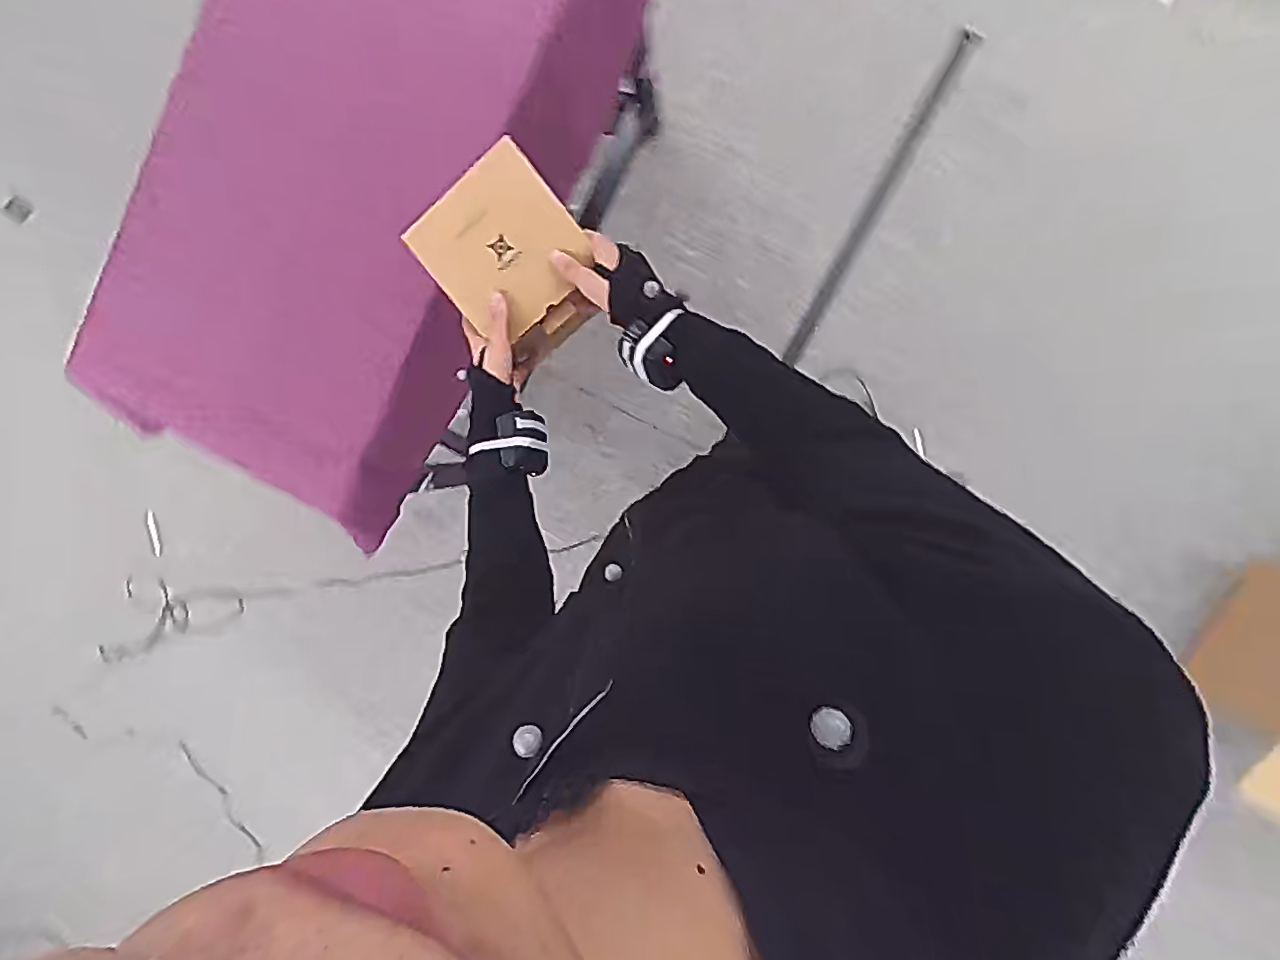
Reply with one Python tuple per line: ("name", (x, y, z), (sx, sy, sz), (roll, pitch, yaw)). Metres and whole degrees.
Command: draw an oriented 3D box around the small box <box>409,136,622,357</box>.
("small box", (-0.140, -0.273, 0.681), (0.168, 0.176, 0.179), (-38, 94, 9))
